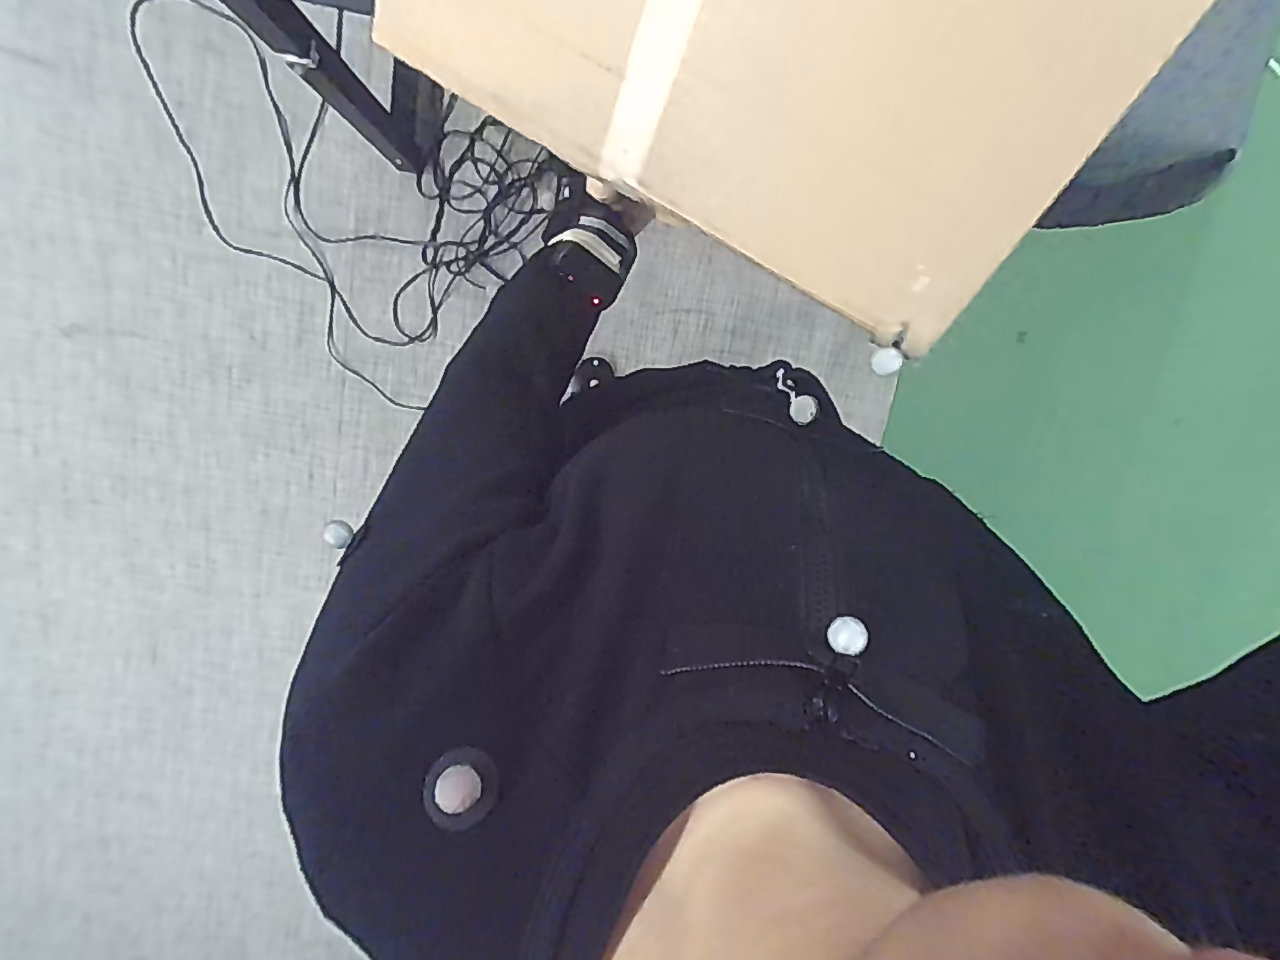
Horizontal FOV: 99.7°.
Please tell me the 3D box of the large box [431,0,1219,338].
[{"bbox_3d":[0.143,-0.353,0.270,0.320,0.320,0.408,33,127,10],"label":"large box"}]
